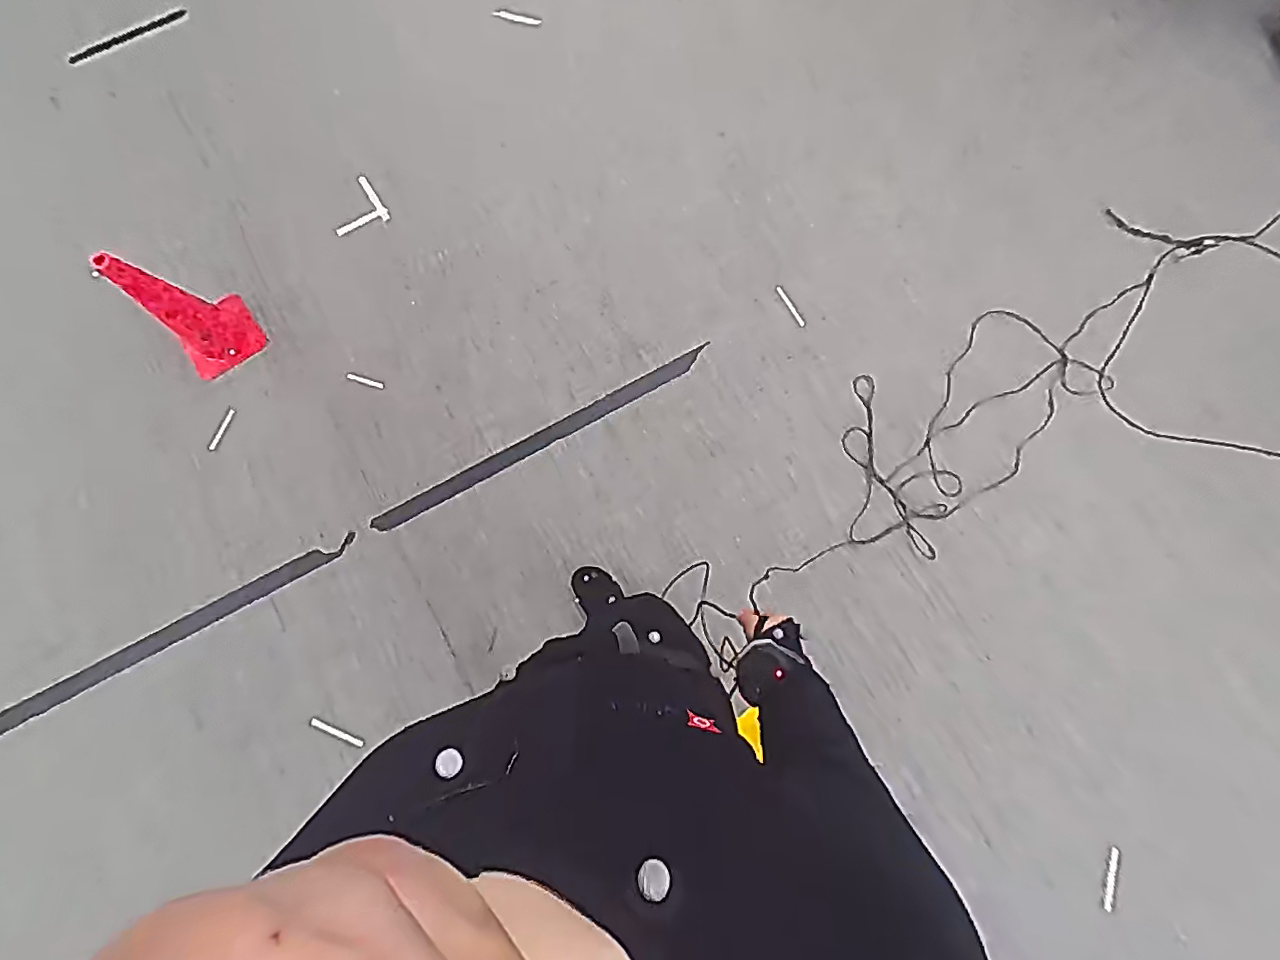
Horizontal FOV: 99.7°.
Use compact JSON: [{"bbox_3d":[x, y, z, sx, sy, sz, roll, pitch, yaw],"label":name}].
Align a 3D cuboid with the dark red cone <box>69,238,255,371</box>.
[{"bbox_3d":[-1.163,-0.442,1.299,0.202,0.394,0.201,-37,82,-8],"label":"dark red cone"}]
